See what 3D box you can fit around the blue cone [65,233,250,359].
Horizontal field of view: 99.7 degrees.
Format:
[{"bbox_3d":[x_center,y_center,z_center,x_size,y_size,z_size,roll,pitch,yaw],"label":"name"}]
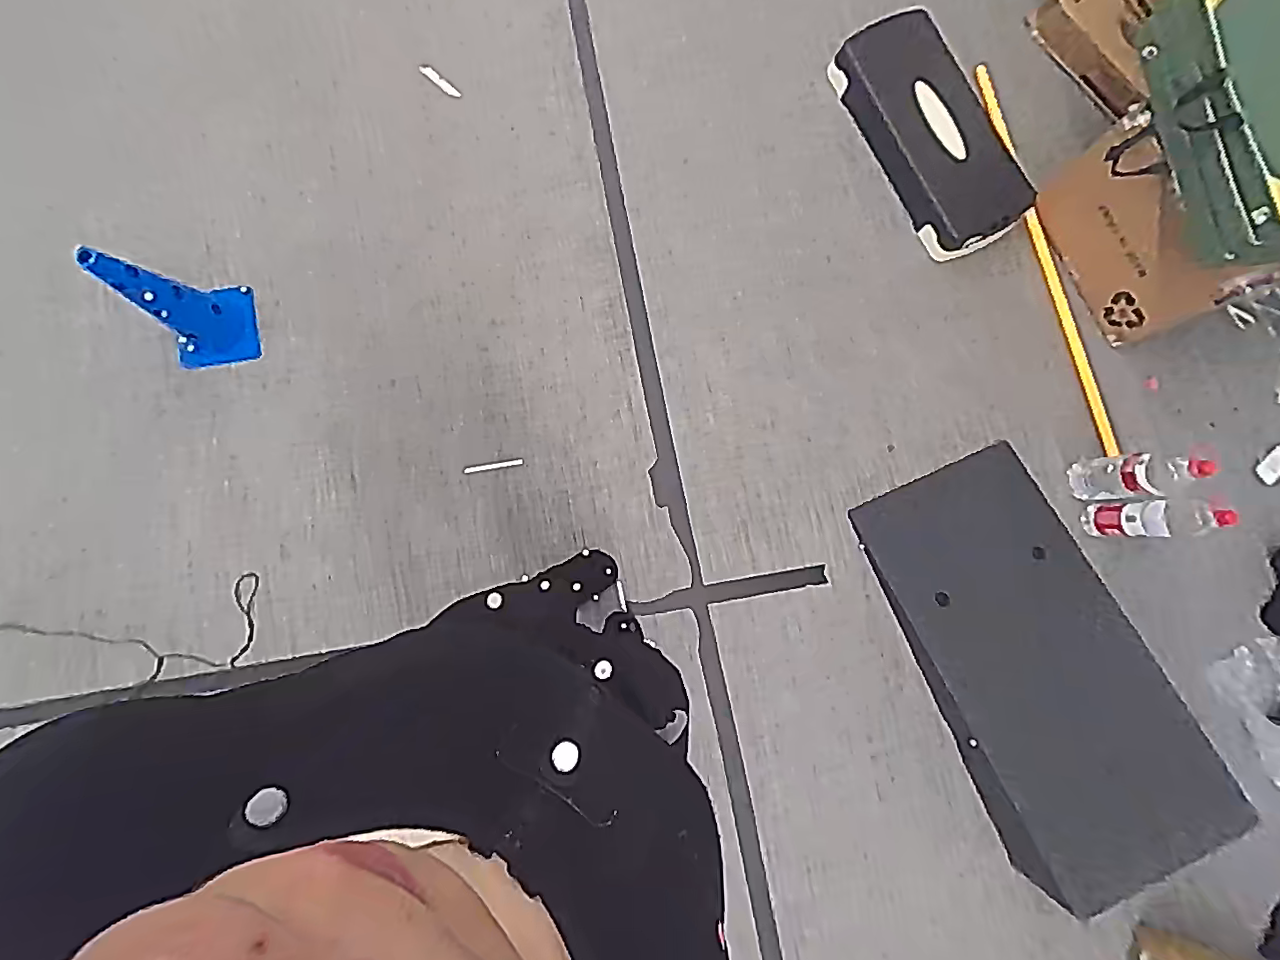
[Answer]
[{"bbox_3d":[-1.083,-0.423,1.210,0.193,0.380,0.192,-9,84,-4],"label":"blue cone"}]
